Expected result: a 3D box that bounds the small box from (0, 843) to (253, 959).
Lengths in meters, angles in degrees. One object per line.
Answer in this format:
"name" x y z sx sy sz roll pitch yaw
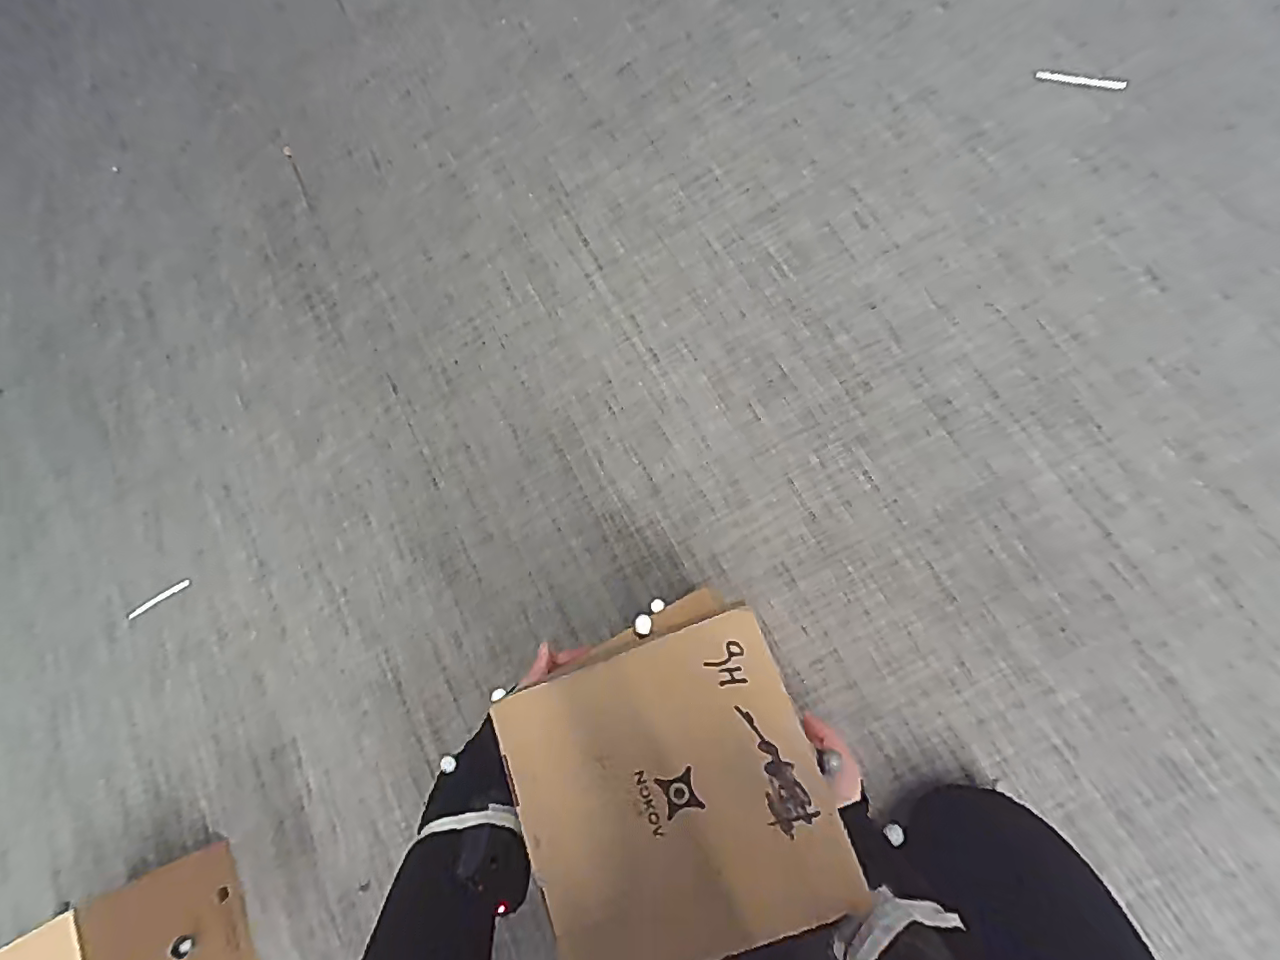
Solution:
"small box" -0.576 0.553 0.604 0.179 0.176 0.168 -30 74 4
